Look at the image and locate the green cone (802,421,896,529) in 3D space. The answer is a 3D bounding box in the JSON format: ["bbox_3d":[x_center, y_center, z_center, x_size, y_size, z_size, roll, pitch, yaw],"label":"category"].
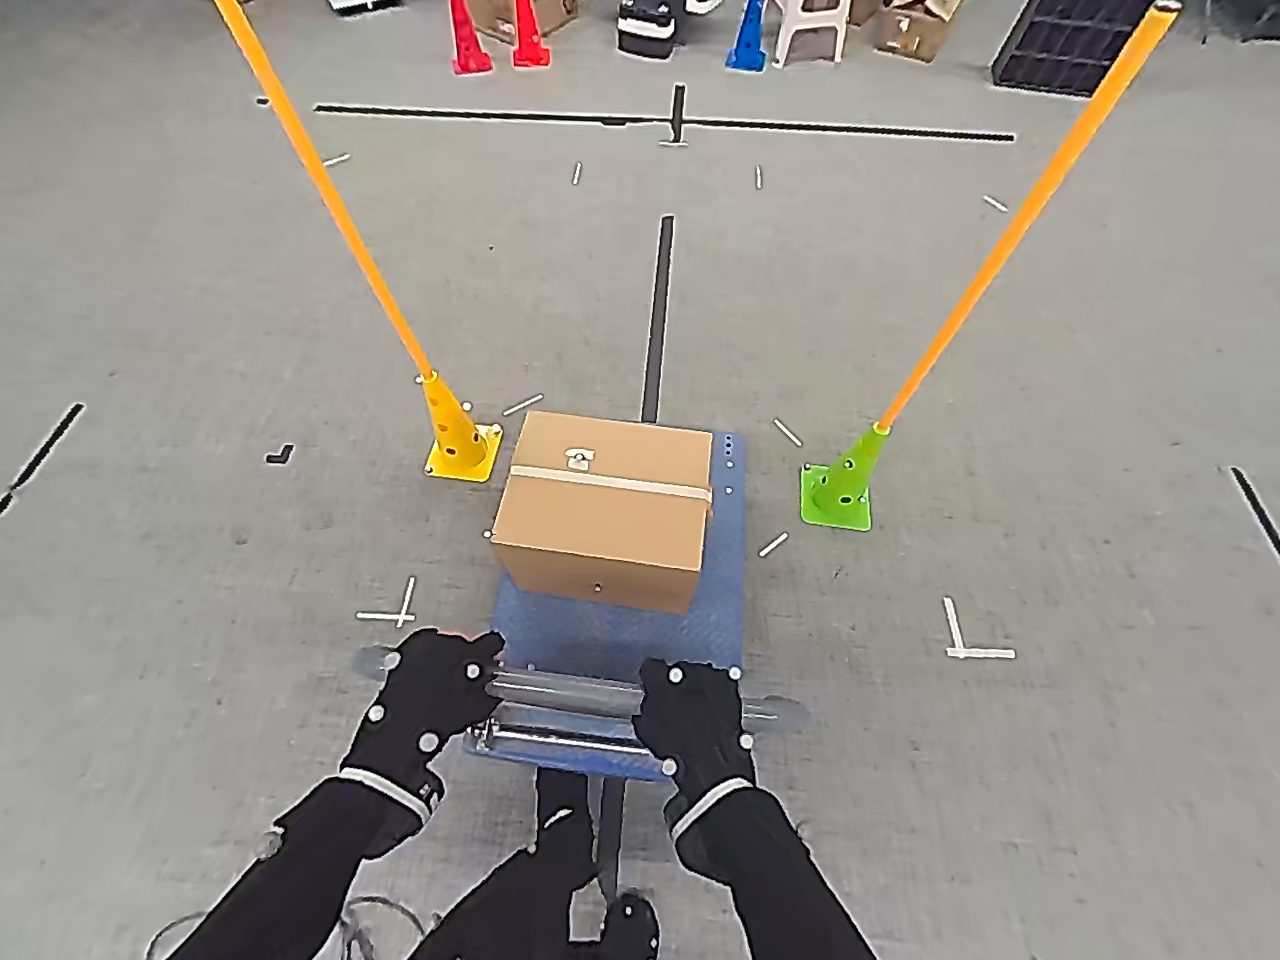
[{"bbox_3d":[0.589,-0.038,1.461,0.202,0.368,0.200,8,61,3],"label":"green cone"}]

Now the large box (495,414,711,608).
[{"bbox_3d":[-0.061,0.081,1.224,0.408,0.320,0.320,7,61,4],"label":"large box"}]
